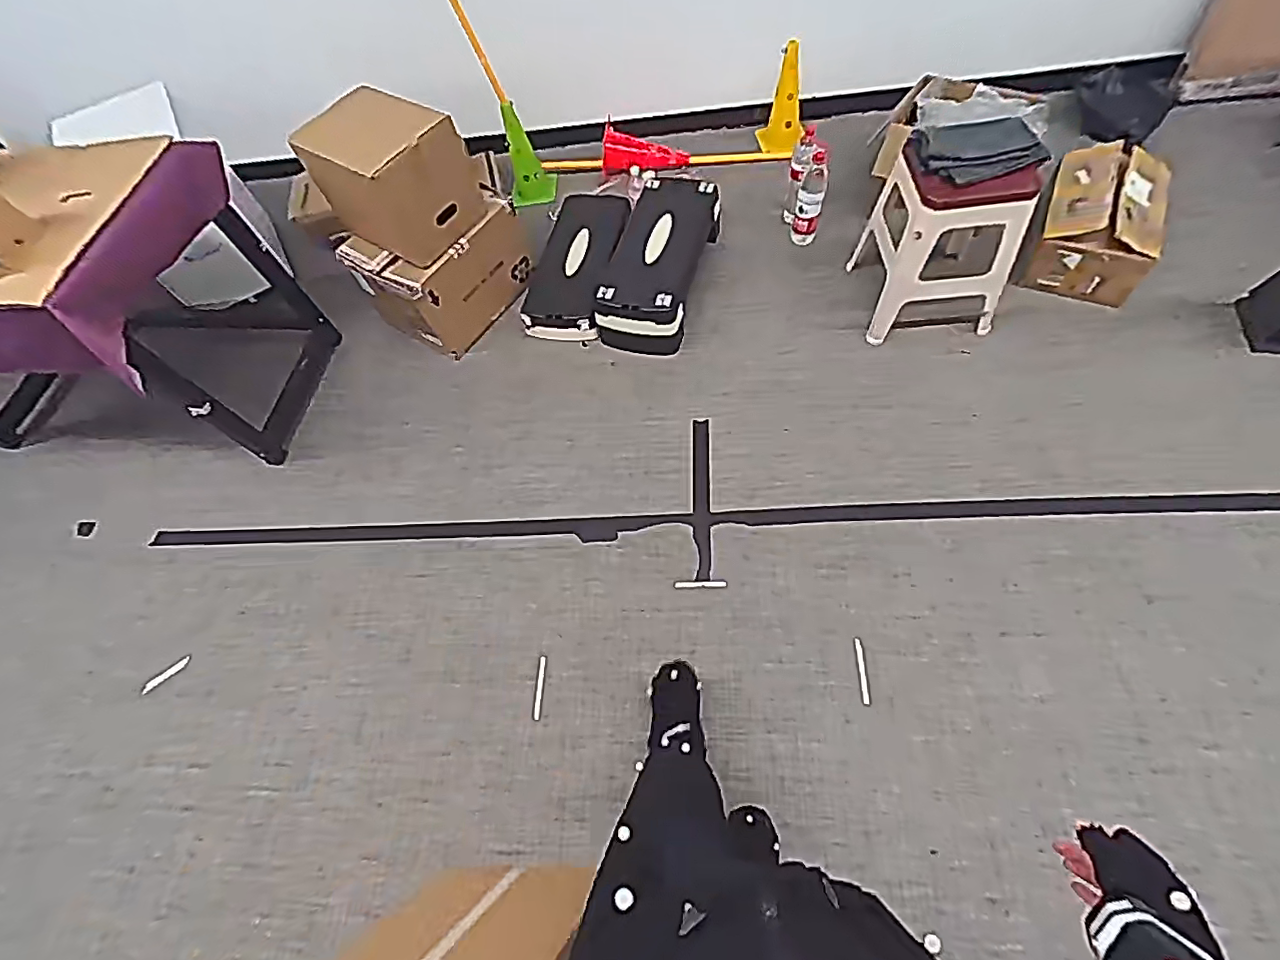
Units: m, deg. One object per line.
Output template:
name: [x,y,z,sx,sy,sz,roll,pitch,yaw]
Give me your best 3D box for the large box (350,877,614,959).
large box: [-0.227,0.759,0.652,0.320,0.408,0.320,-13,78,16]
